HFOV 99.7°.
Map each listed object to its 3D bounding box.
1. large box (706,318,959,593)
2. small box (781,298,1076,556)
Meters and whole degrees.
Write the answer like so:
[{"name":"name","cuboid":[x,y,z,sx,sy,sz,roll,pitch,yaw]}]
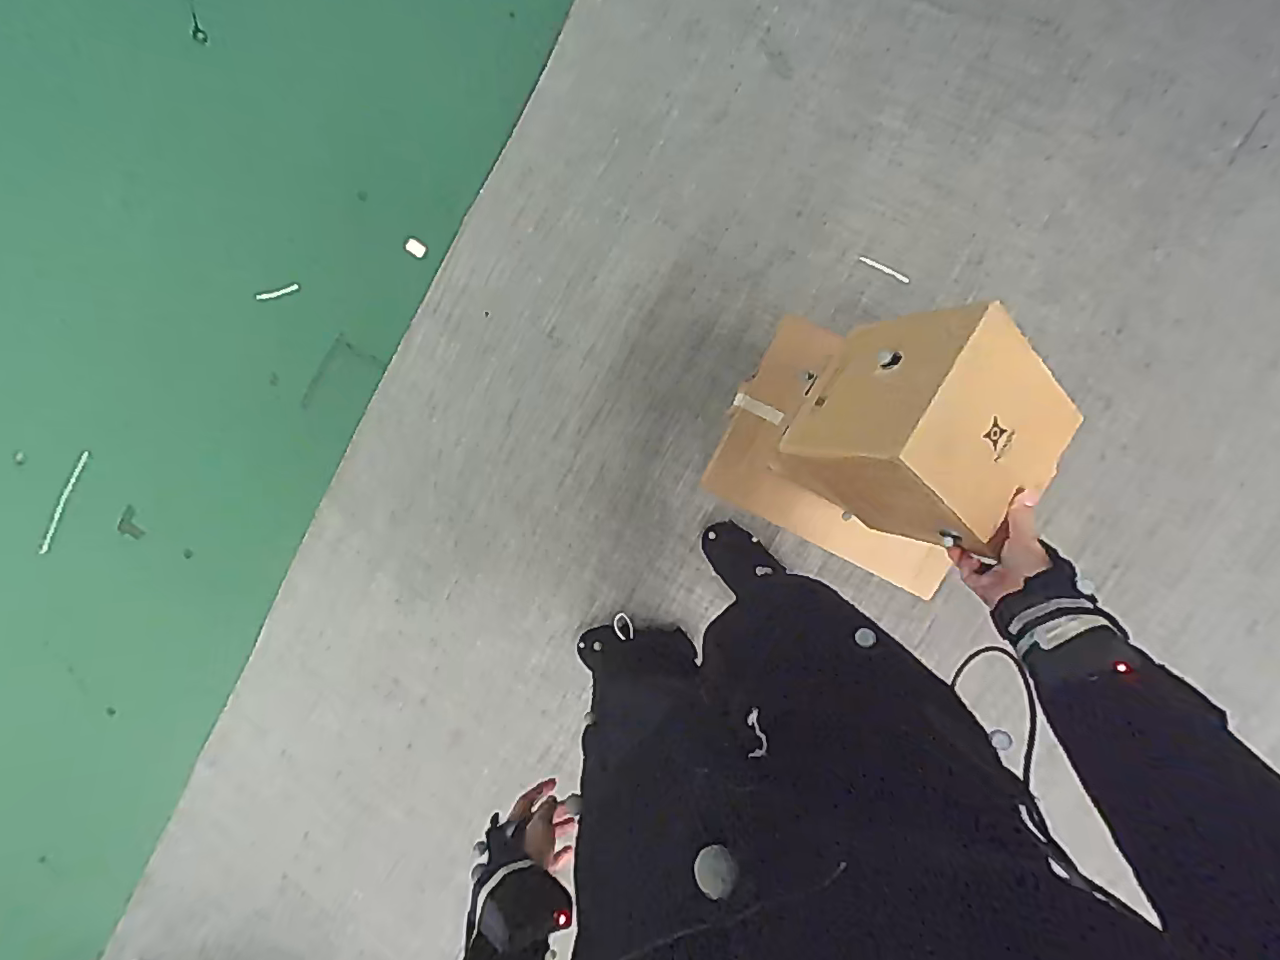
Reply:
[{"name":"large box","cuboid":[0.364,-0.047,1.001,0.408,0.320,0.320,27,96,6]},{"name":"small box","cuboid":[0.280,-0.050,0.550,0.179,0.176,0.168,37,83,-23]}]
